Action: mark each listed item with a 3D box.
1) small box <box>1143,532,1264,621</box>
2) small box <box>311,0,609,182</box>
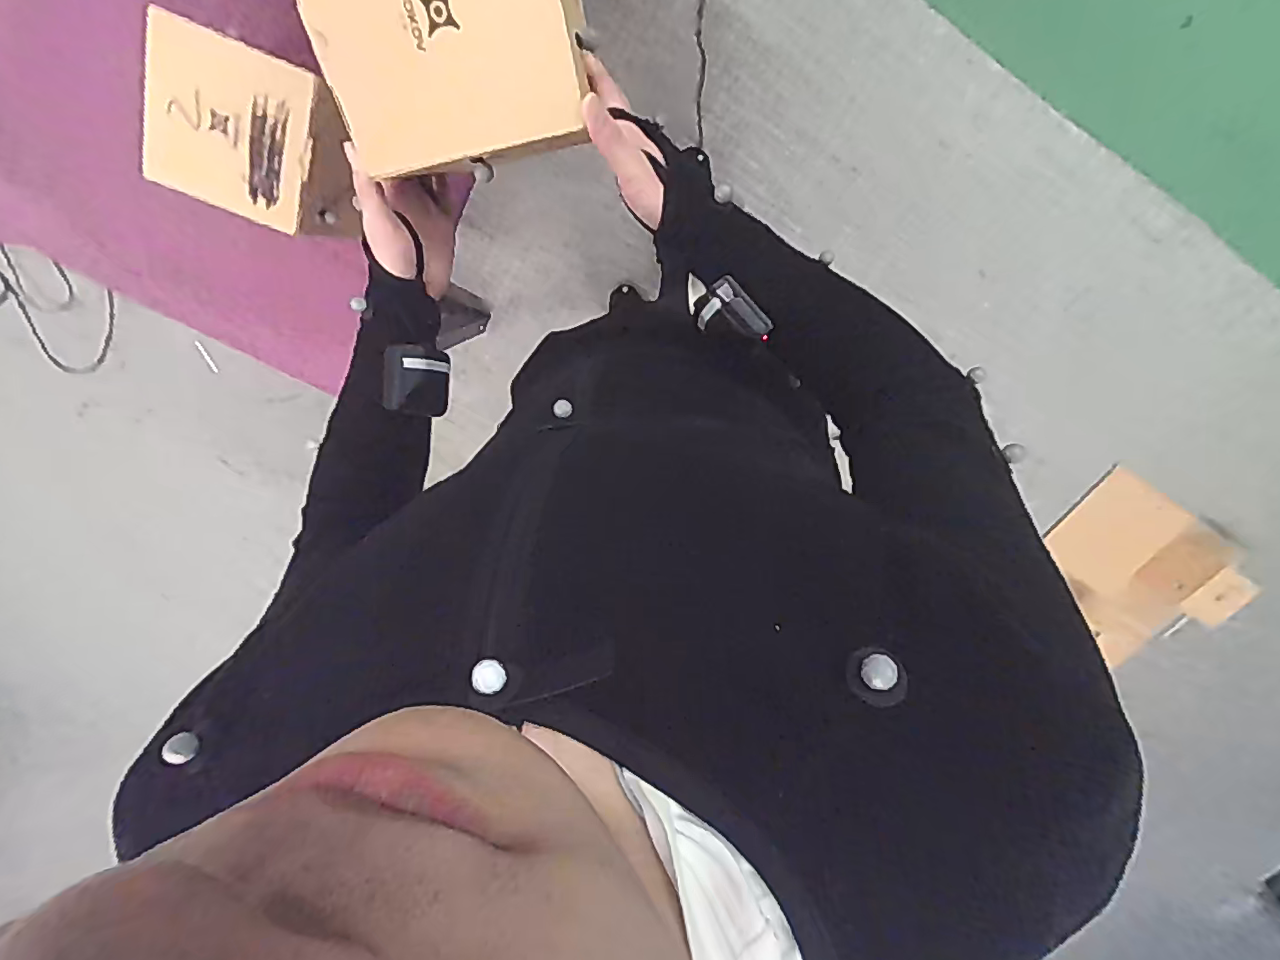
[{"bbox_3d":[1.739,0.297,1.687,0.168,0.176,0.179,31,110,-12],"label":"small box"},{"bbox_3d":[-0.125,-0.349,0.427,0.179,0.176,0.168,-8,121,8],"label":"small box"}]
